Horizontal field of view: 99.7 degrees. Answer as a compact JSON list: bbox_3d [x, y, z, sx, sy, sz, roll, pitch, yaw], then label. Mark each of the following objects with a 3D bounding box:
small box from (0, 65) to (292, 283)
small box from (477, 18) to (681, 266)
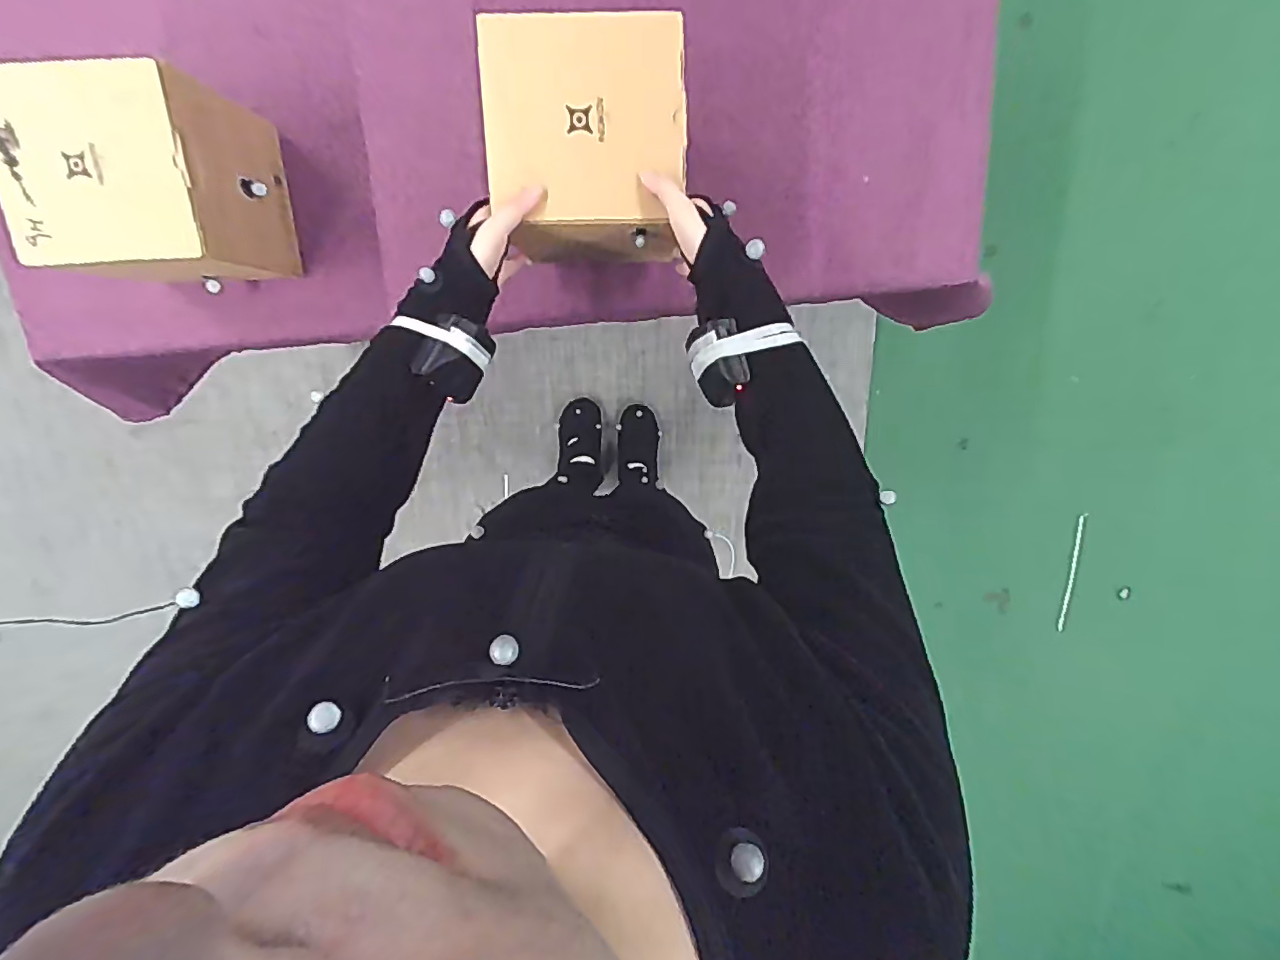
[{"bbox_3d":[-0.504,-0.306,0.574,0.179,0.176,0.168,-2,104,-1],"label":"small box"},{"bbox_3d":[-0.053,-0.321,0.549,0.179,0.176,0.168,-1,99,-2],"label":"small box"}]
